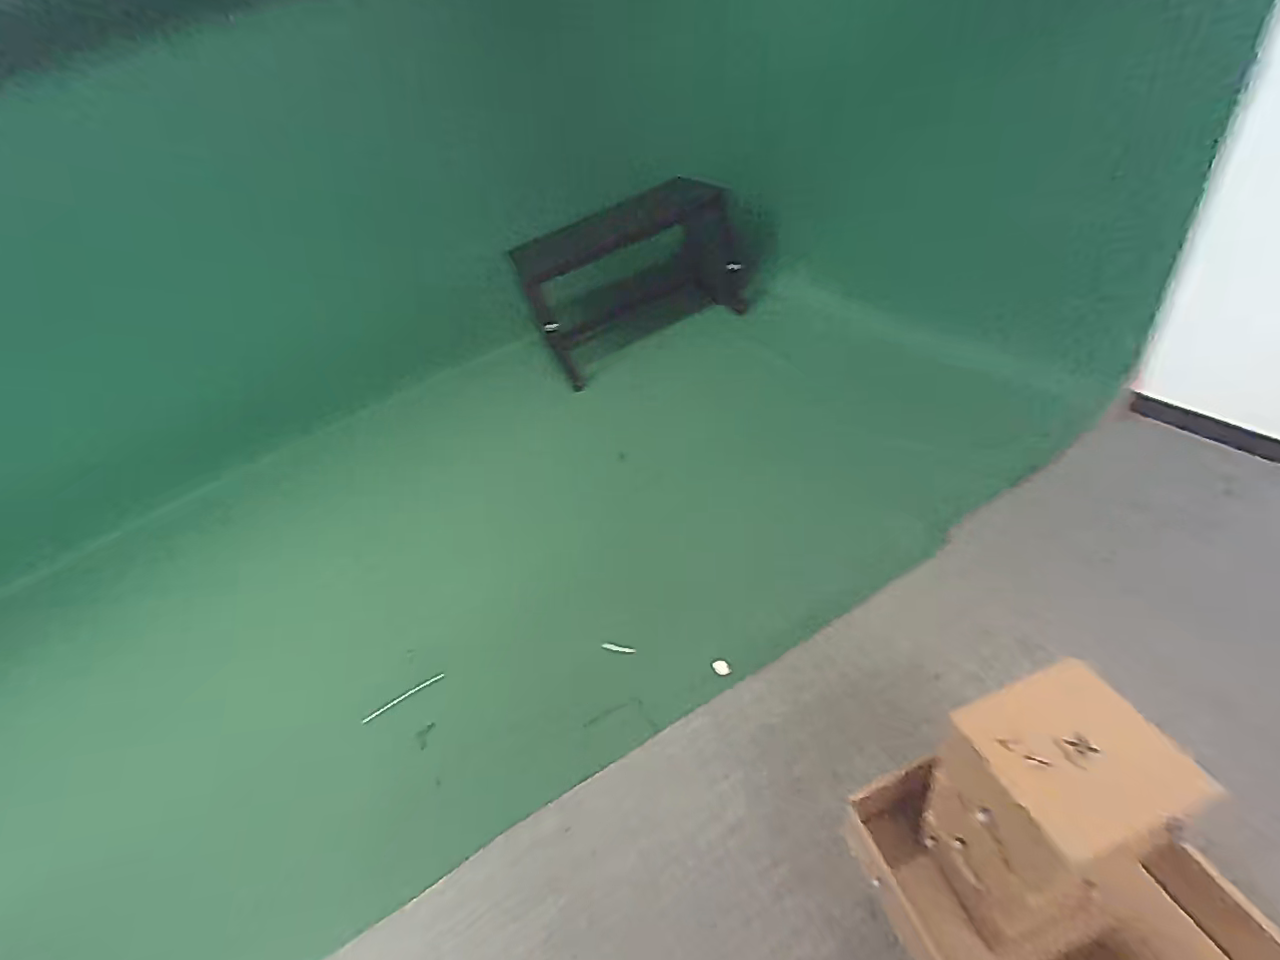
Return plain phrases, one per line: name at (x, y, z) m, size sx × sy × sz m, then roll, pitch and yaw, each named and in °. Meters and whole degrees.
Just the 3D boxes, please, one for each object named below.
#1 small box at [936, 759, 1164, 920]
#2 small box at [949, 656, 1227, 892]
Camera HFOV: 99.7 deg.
small box at (0.541, 0.467, 0.748) m, size 0.179 × 0.176 × 0.168 m, roll -24°, pitch 41°, yaw -3°
small box at (0.500, 0.348, 0.641) m, size 0.179 × 0.176 × 0.168 m, roll -23°, pitch 40°, yaw -2°
